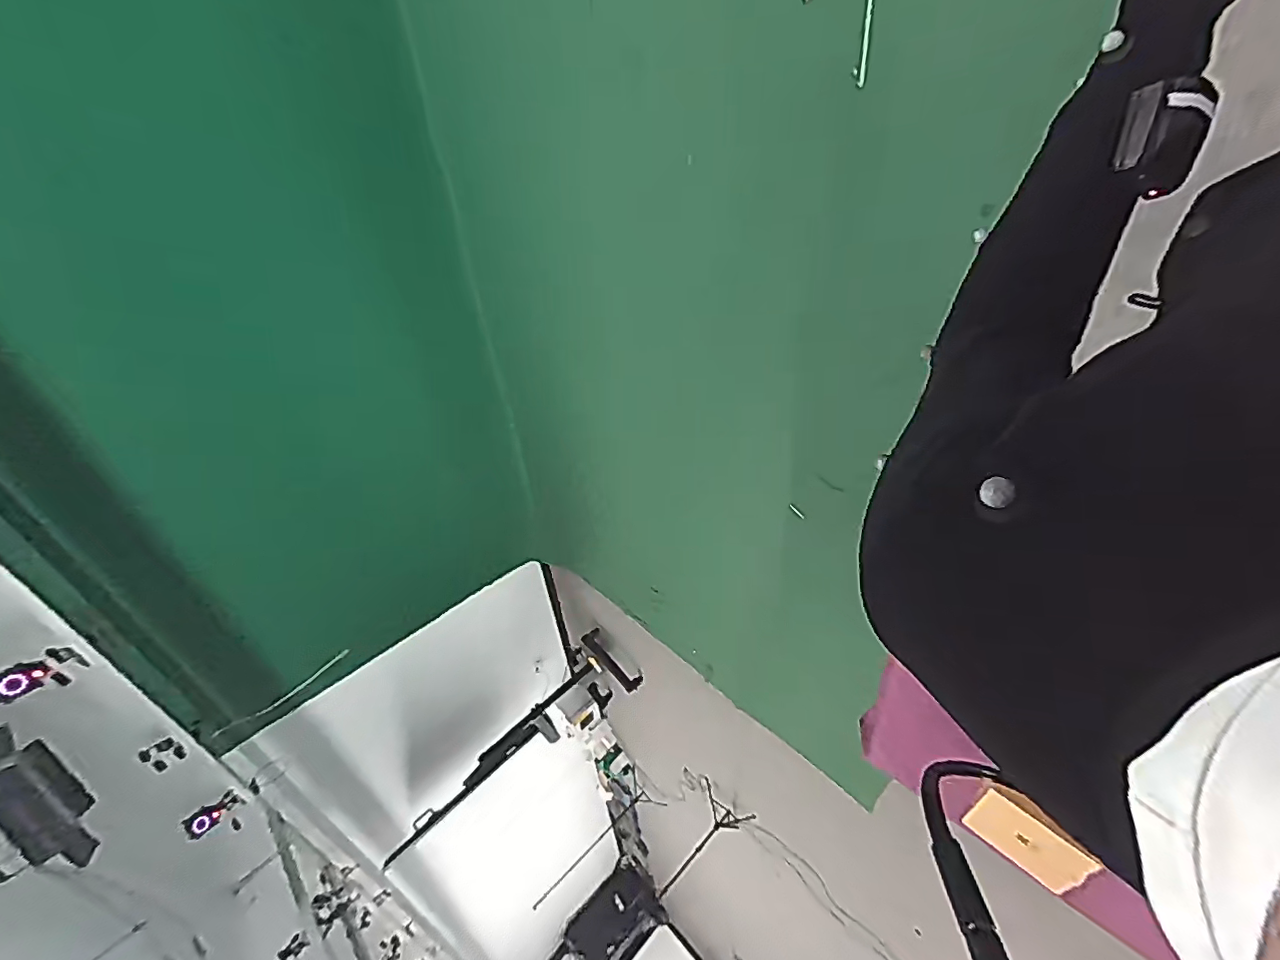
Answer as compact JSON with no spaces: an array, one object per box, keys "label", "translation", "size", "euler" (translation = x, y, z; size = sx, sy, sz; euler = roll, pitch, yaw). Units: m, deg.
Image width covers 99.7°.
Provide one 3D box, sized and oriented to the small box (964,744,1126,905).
[{"label":"small box","translation":[0.760,0.635,1.021],"size":[0.179,0.176,0.168],"euler":[30,138,34]}]
